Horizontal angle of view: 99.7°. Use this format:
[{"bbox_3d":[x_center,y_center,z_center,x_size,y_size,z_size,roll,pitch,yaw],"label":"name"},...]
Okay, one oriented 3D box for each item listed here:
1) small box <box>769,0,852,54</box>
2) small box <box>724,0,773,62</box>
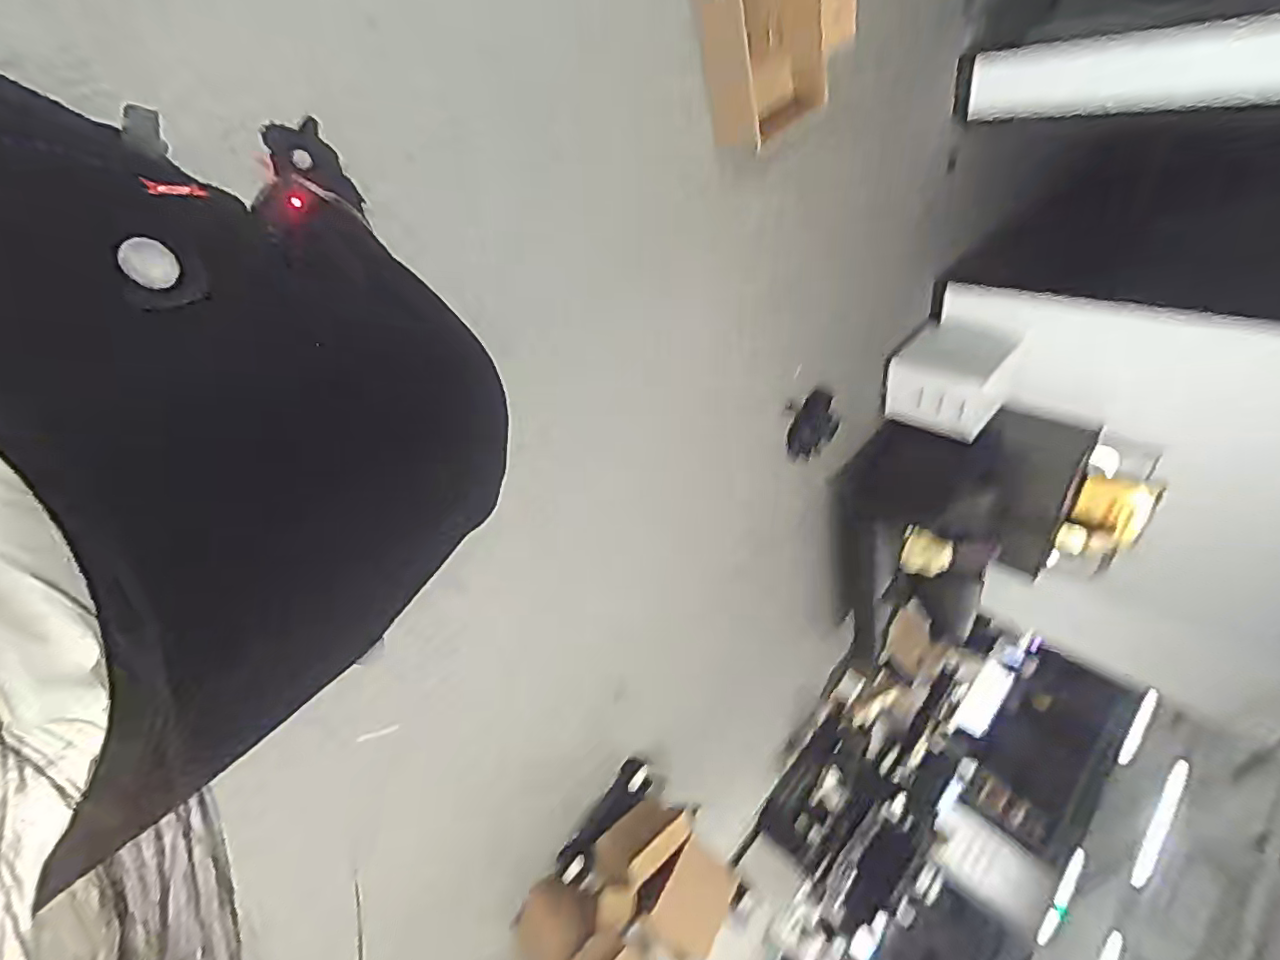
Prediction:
[{"bbox_3d":[0.485,-1.355,1.551,0.179,0.176,0.168,-44,137,-22],"label":"small box"},{"bbox_3d":[0.373,-1.413,1.654,0.179,0.176,0.168,-42,136,-22],"label":"small box"}]
